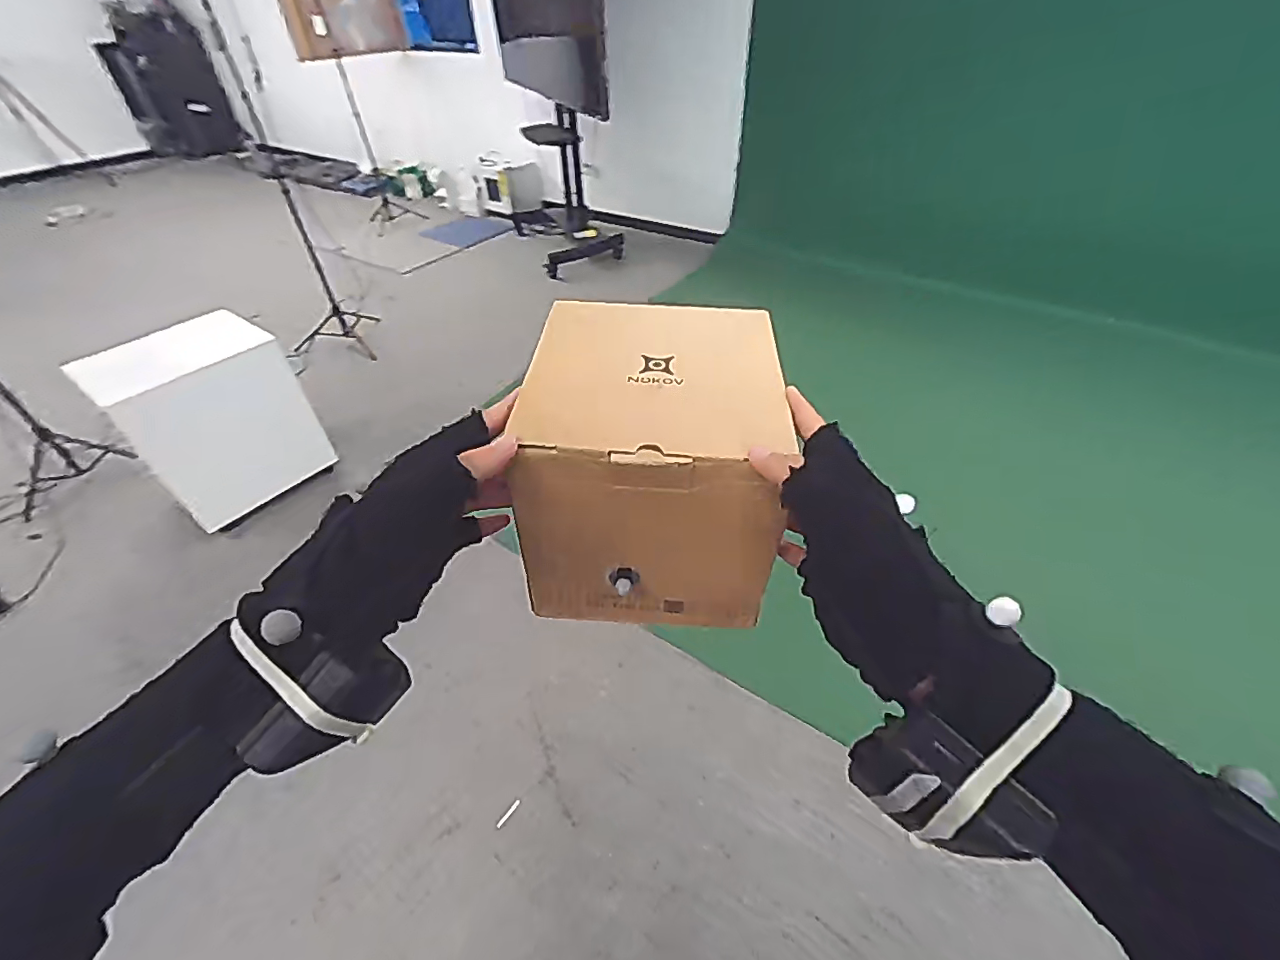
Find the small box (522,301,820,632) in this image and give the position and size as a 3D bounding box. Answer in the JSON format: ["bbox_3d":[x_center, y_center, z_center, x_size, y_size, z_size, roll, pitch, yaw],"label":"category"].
[{"bbox_3d":[0.019,-0.012,0.405,0.168,0.176,0.179,4,45,2],"label":"small box"}]
